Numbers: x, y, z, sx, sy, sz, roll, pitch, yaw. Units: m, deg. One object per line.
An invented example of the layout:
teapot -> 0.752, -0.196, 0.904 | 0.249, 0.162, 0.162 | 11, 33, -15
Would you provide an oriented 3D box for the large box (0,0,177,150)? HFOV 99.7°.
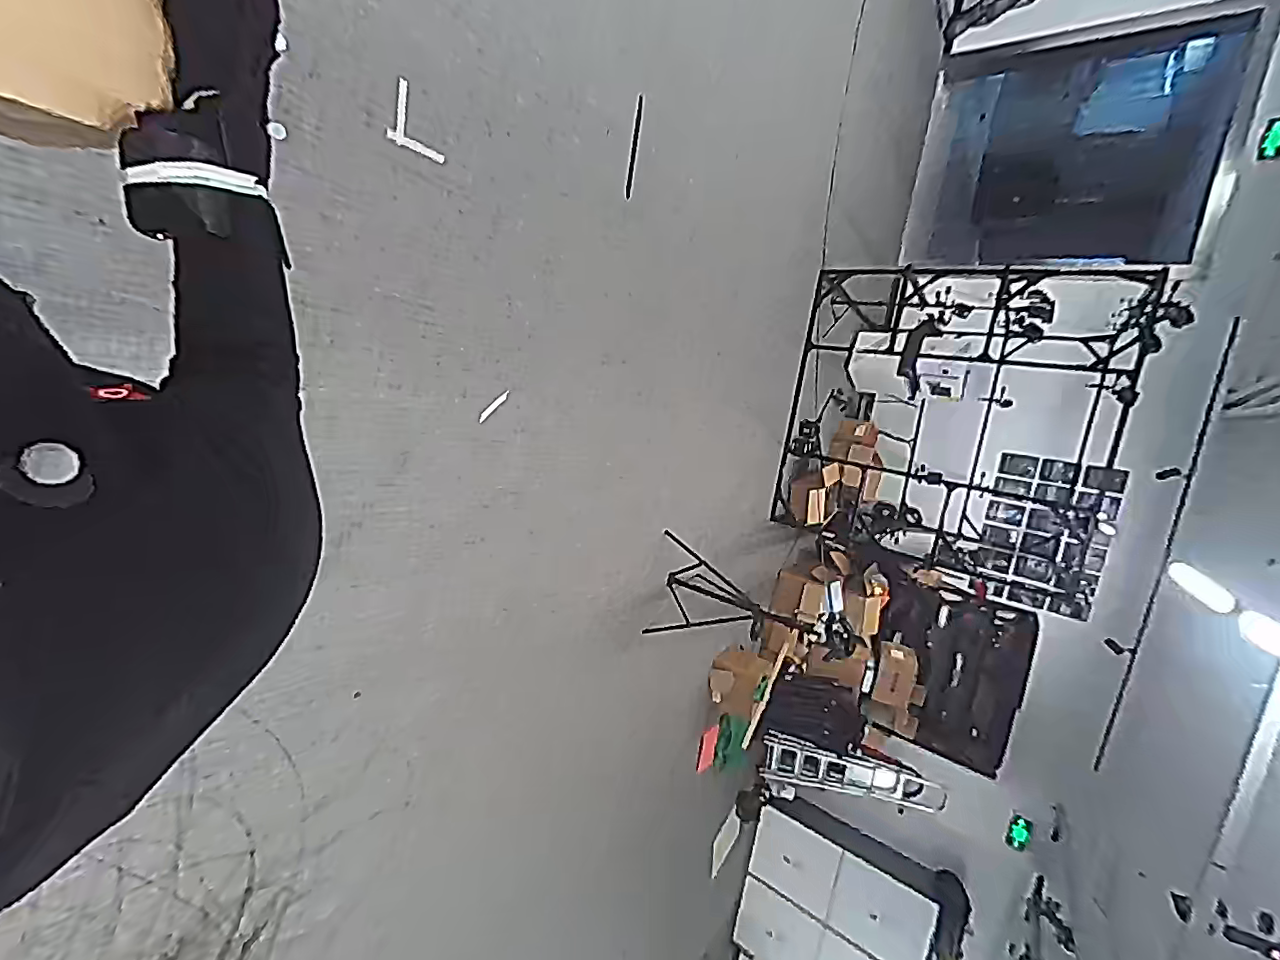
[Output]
large box -> -0.541, -0.406, 0.265 | 0.408, 0.320, 0.320 | -11, 119, -57
